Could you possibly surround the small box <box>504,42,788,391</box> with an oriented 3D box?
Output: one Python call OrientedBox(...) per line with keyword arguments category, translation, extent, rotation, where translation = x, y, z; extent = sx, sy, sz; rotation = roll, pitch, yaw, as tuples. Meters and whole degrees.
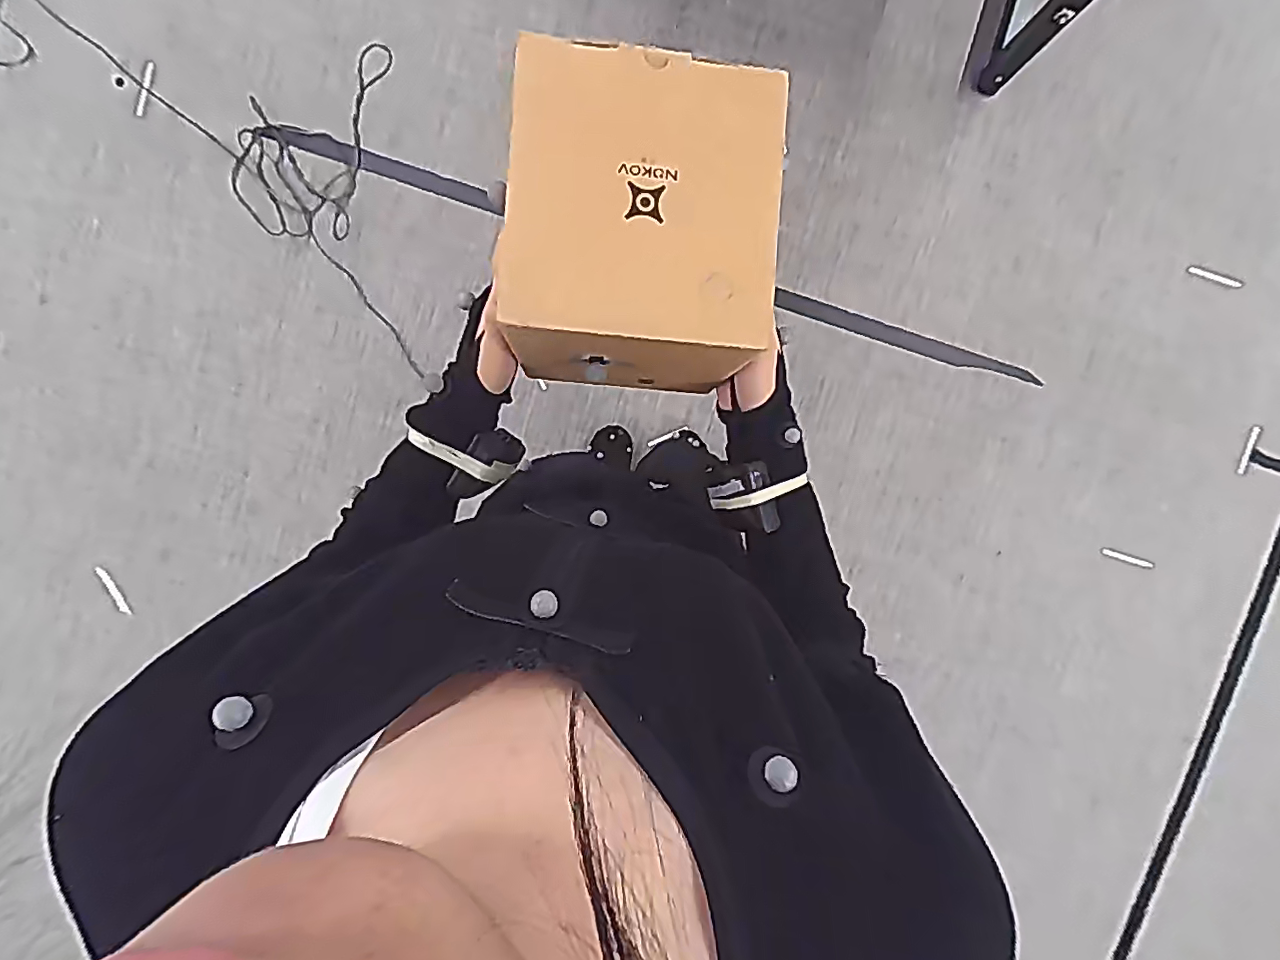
OrientedBox(category="small box", translation=(-0.001, -0.170, 0.409), extent=(0.168, 0.176, 0.179), rotation=(4, 88, -6))
